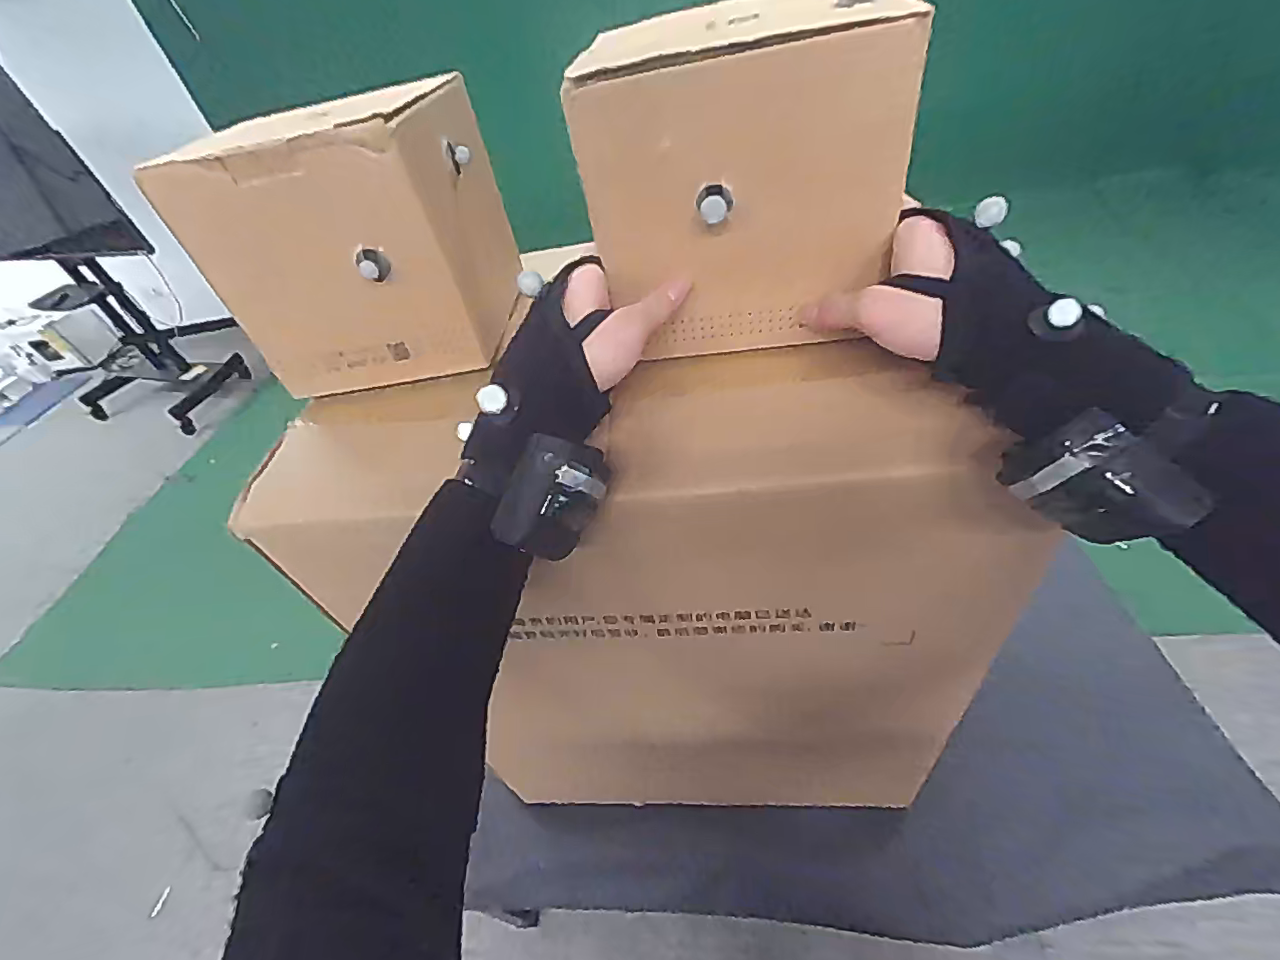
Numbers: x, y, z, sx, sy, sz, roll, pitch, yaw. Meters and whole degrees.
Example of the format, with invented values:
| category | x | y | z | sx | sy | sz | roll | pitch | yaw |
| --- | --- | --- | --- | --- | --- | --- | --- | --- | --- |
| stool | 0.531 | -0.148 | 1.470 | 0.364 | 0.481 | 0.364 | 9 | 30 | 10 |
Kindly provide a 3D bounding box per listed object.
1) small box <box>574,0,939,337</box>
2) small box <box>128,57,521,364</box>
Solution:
| category | x | y | z | sx | sy | sz | roll | pitch | yaw |
| --- | --- | --- | --- | --- | --- | --- | --- | --- | --- |
| small box | 0.071 | -0.211 | 0.361 | 0.179 | 0.176 | 0.168 | -4 | 45 | 9 |
| small box | -0.202 | -0.200 | 0.415 | 0.168 | 0.176 | 0.179 | -6 | 40 | 5 |
